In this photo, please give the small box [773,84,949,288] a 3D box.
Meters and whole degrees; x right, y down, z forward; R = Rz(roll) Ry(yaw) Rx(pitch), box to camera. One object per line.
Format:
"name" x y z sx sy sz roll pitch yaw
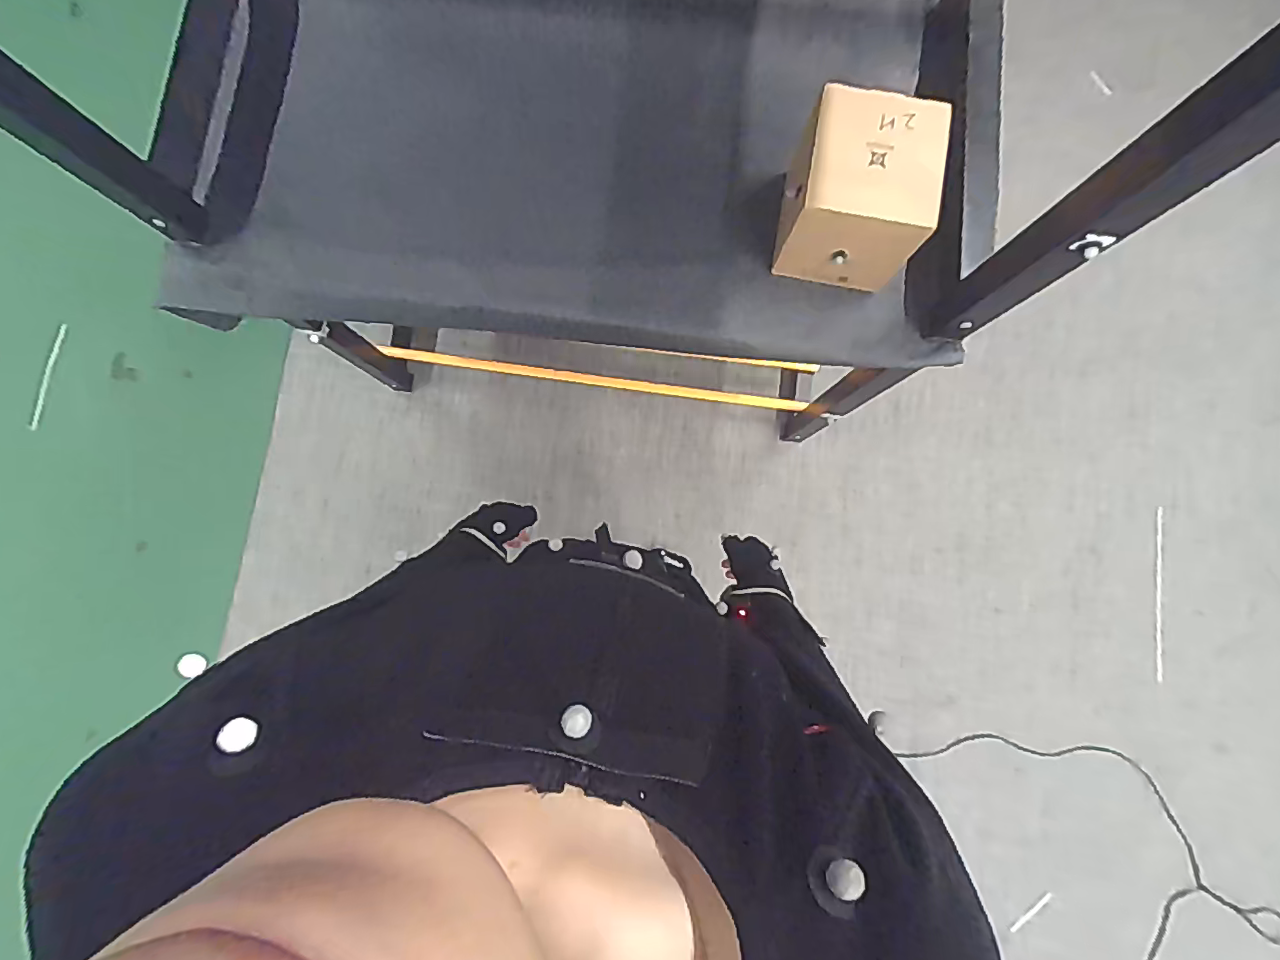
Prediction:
"small box" 0.293 -0.393 0.752 0.168 0.176 0.179 11 82 0
